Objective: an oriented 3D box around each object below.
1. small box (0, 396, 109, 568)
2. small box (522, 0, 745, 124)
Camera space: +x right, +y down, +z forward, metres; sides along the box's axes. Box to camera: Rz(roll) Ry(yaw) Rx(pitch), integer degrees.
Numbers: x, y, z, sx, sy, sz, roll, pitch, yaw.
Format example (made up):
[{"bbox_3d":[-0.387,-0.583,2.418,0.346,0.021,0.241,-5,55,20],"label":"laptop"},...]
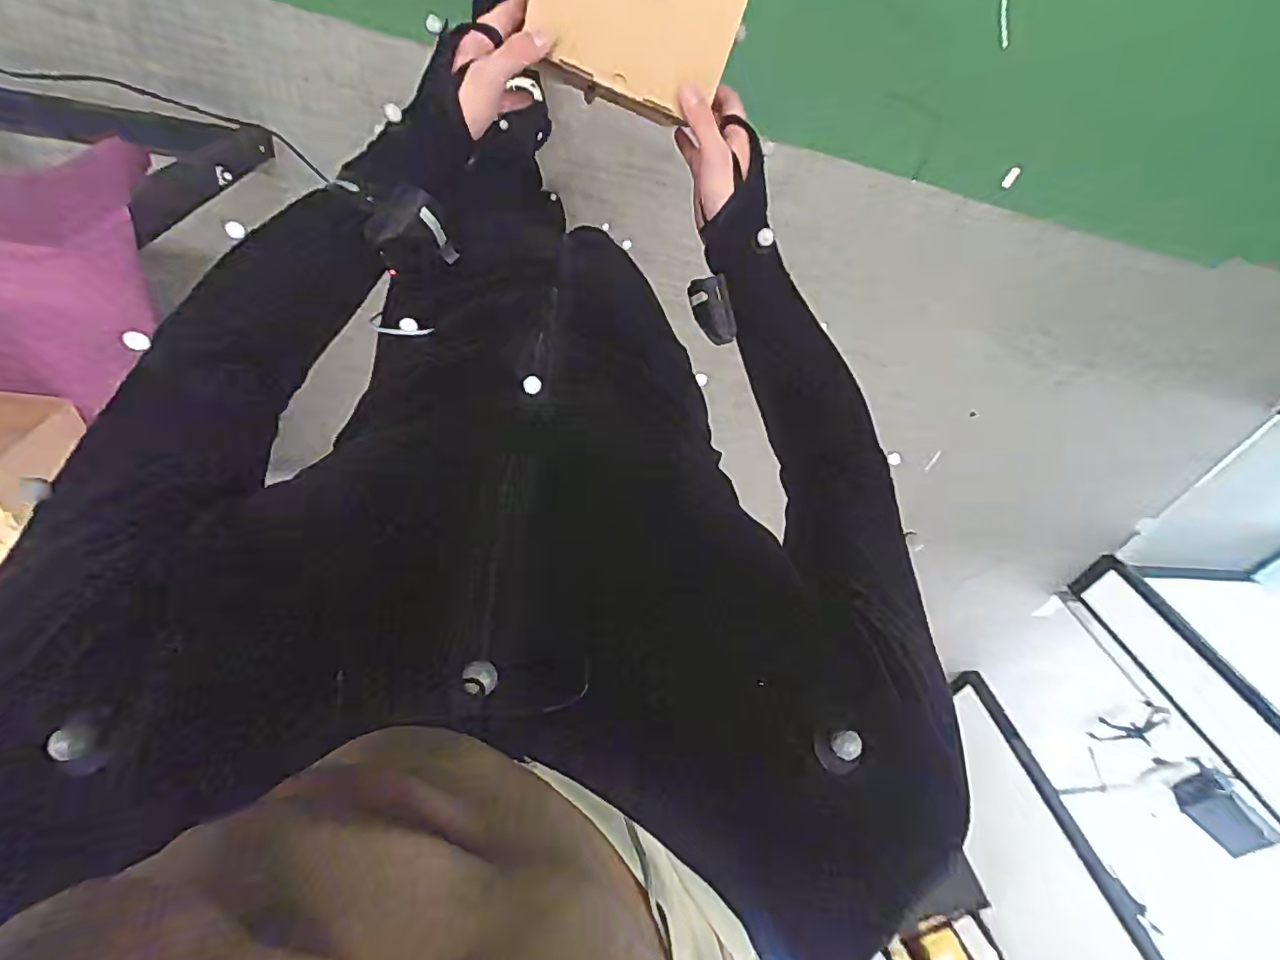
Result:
[{"bbox_3d":[-0.879,-0.004,0.714,0.179,0.176,0.168,5,132,-15],"label":"small box"},{"bbox_3d":[-0.006,-0.447,0.477,0.168,0.176,0.179,12,122,-19],"label":"small box"}]
